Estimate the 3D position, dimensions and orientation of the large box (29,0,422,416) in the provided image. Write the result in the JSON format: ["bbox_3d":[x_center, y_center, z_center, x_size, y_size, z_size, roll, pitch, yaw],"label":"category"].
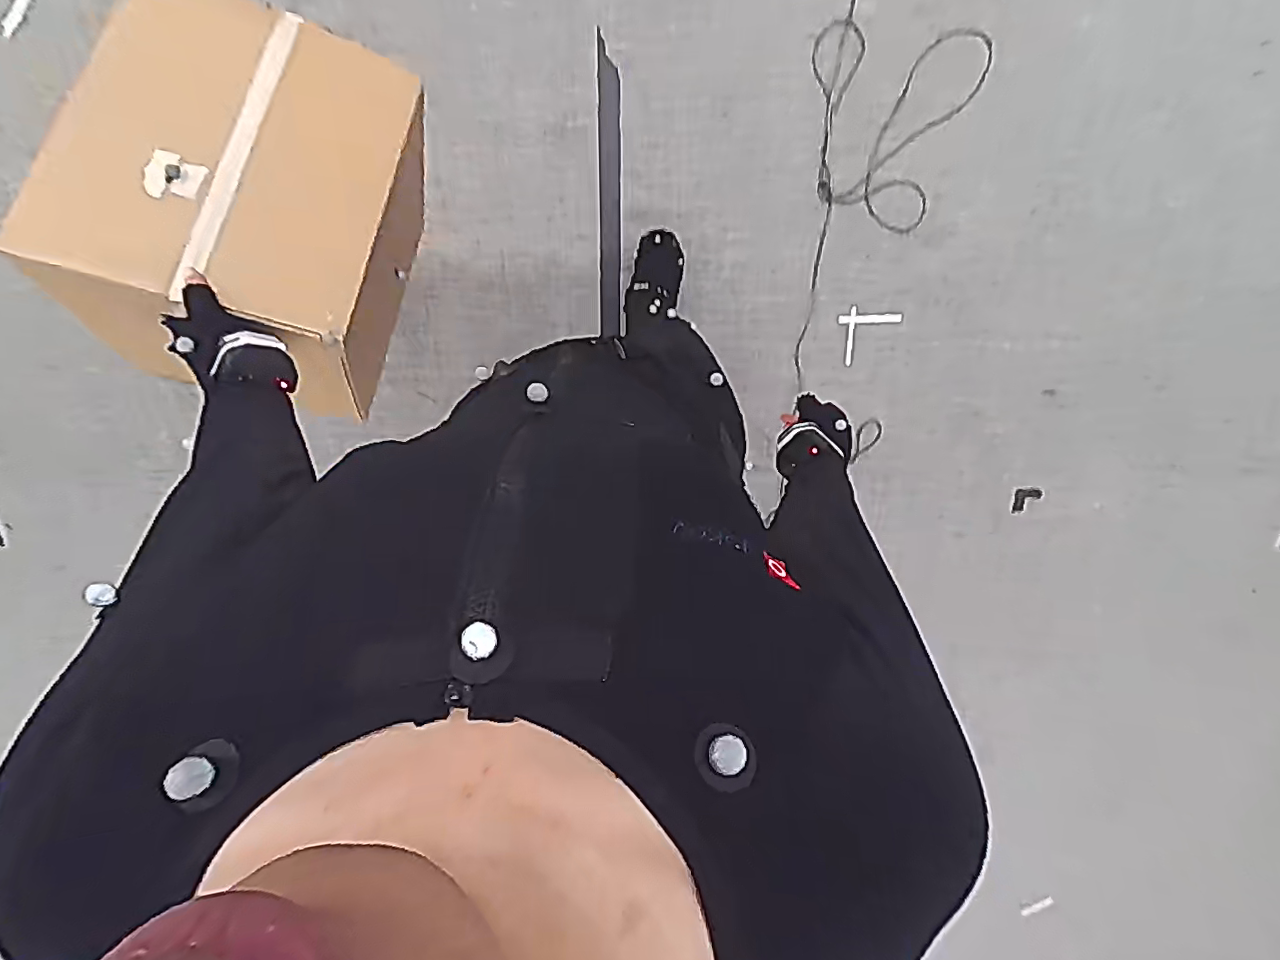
[{"bbox_3d":[-0.520,-0.355,0.790,0.320,0.320,0.408,12,74,-17],"label":"large box"}]
